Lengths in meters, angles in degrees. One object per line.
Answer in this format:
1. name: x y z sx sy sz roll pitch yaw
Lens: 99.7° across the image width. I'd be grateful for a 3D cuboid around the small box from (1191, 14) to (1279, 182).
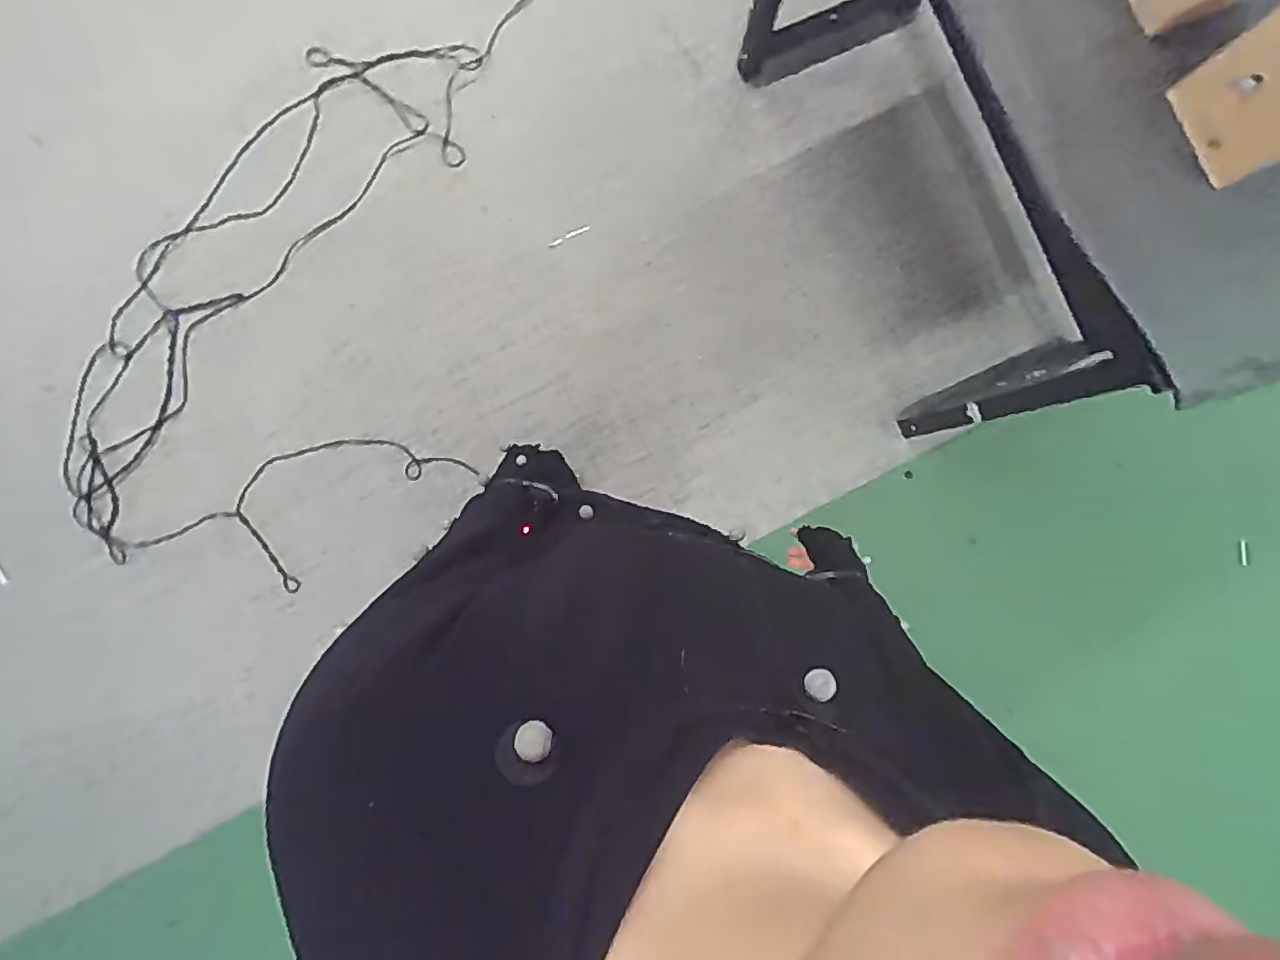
1. small box: 0.910 -0.543 0.724 0.179 0.176 0.168 -25 89 -3
